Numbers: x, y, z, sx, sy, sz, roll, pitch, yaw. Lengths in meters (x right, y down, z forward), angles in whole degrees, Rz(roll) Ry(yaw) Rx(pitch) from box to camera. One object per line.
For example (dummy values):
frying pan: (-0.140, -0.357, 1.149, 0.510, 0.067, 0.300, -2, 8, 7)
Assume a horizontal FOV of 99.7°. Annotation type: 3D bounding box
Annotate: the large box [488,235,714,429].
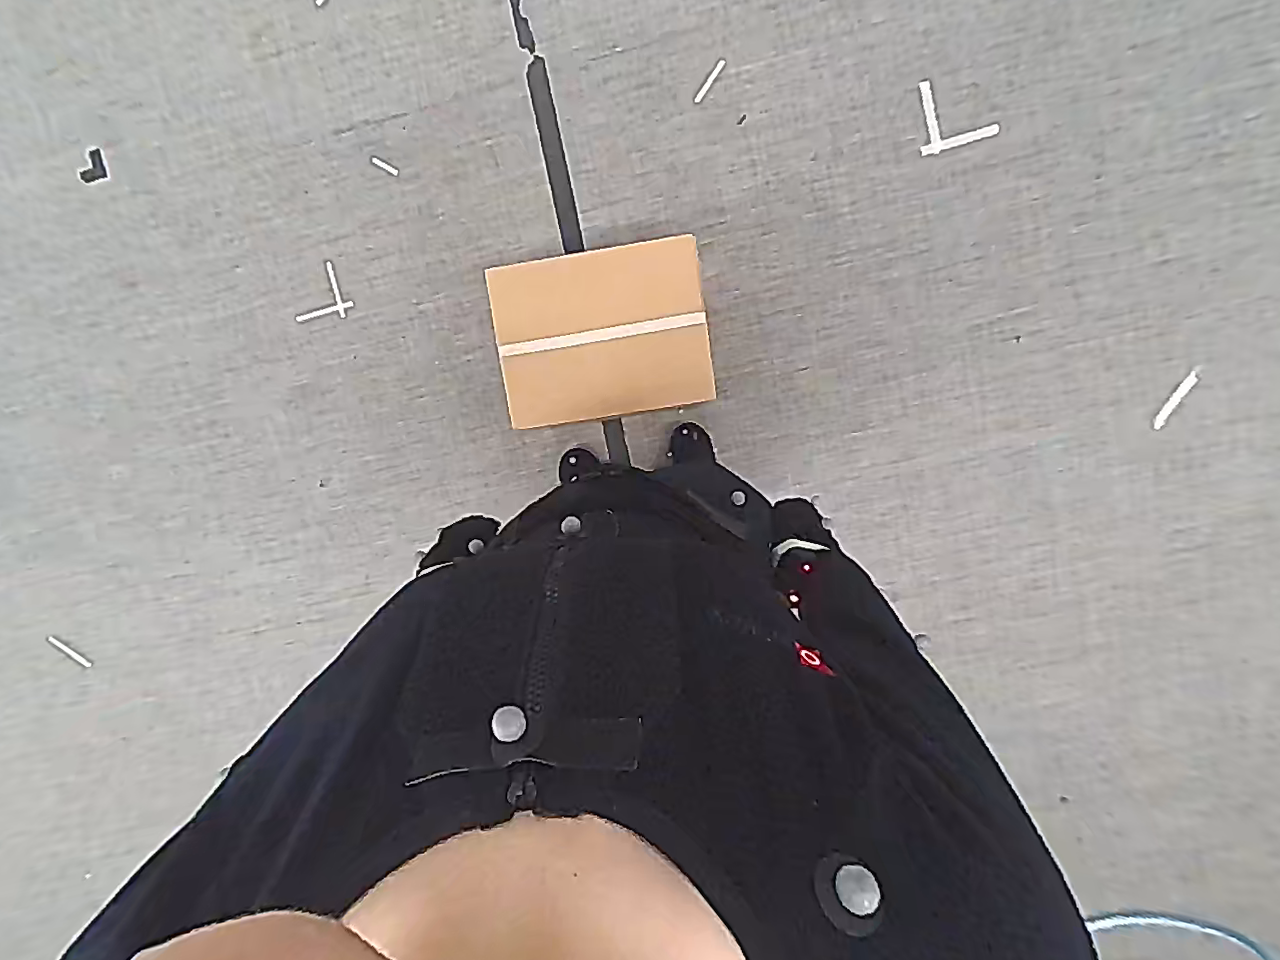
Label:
large box: (-0.066, -0.299, 1.189, 0.408, 0.320, 0.320, -8, 96, 4)
